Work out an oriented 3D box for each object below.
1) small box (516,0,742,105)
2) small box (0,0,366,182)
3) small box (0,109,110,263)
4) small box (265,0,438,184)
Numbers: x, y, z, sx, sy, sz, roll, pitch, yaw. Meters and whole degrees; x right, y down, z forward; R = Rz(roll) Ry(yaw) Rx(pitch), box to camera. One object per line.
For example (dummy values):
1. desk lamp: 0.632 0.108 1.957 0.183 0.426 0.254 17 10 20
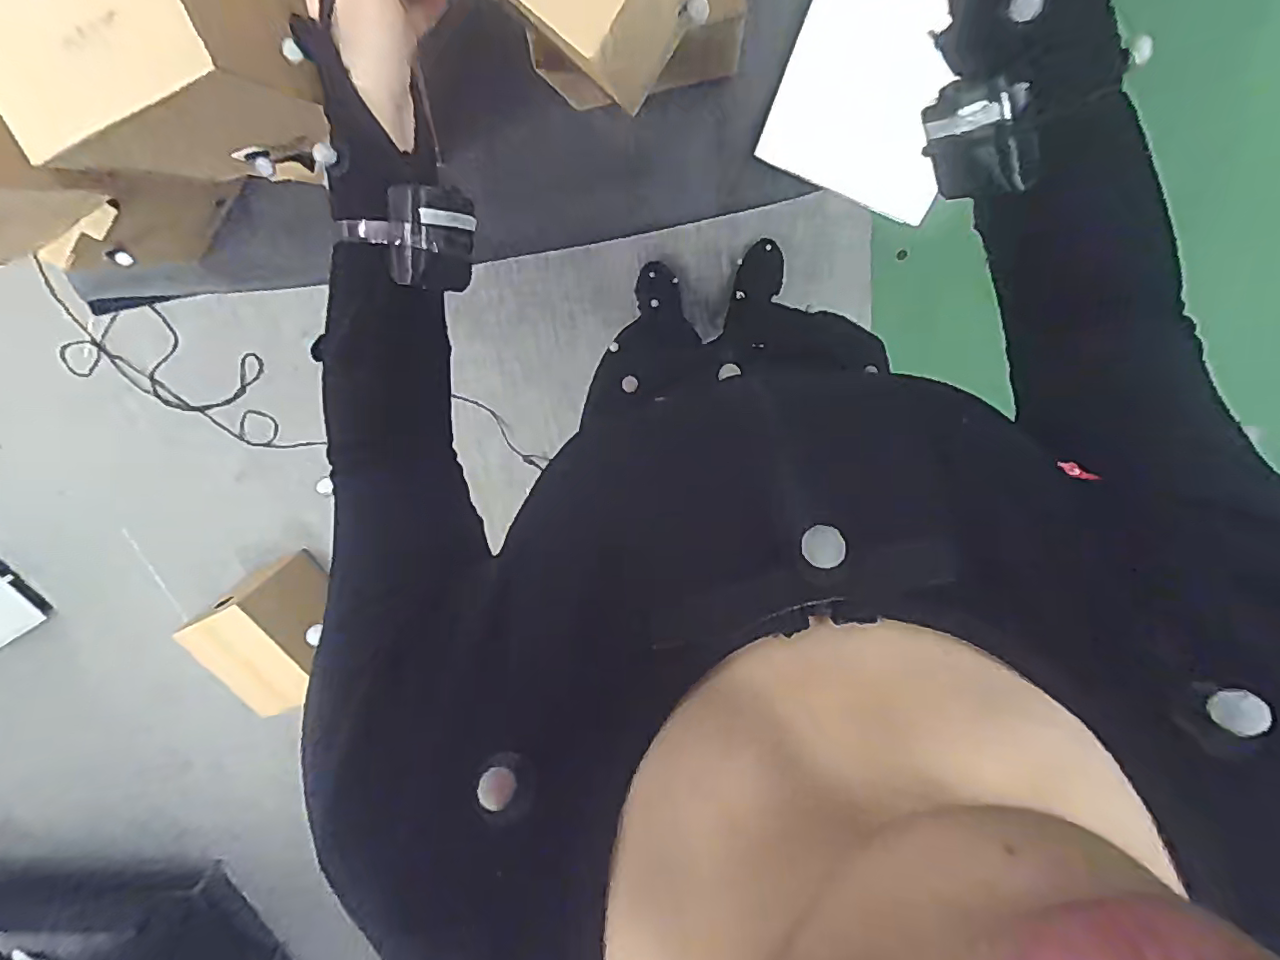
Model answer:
1. small box: -0.010 -0.455 0.472 0.179 0.176 0.168 -6 114 12
2. small box: -0.347 -0.340 0.392 0.168 0.176 0.179 -13 113 15
3. small box: -0.625 -0.289 0.455 0.179 0.176 0.168 -19 111 17
4. small box: -0.331 -0.409 0.538 0.168 0.176 0.179 -3 114 10
